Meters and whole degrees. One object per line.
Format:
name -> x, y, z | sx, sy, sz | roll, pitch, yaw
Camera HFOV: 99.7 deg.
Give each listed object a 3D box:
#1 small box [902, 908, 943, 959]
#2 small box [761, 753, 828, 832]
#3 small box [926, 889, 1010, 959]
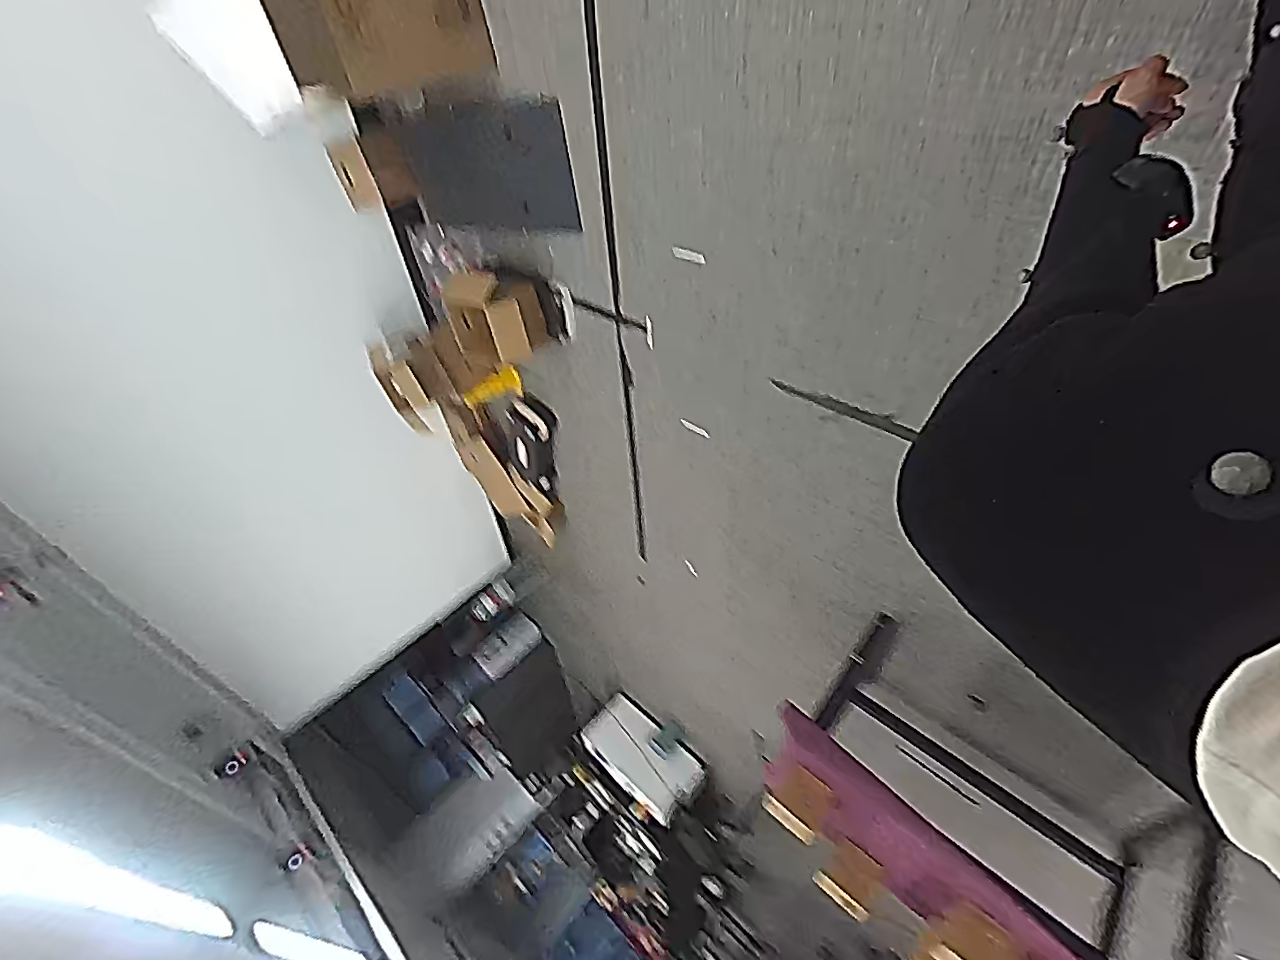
small box -> 1.074, 1.679, 1.927 | 0.168, 0.176, 0.179 | 33, 145, 29
small box -> 0.589, 1.183, 2.053 | 0.179, 0.176, 0.168 | 31, 144, 29
small box -> 1.055, 1.471, 1.736 | 0.168, 0.176, 0.179 | 27, 142, 34
